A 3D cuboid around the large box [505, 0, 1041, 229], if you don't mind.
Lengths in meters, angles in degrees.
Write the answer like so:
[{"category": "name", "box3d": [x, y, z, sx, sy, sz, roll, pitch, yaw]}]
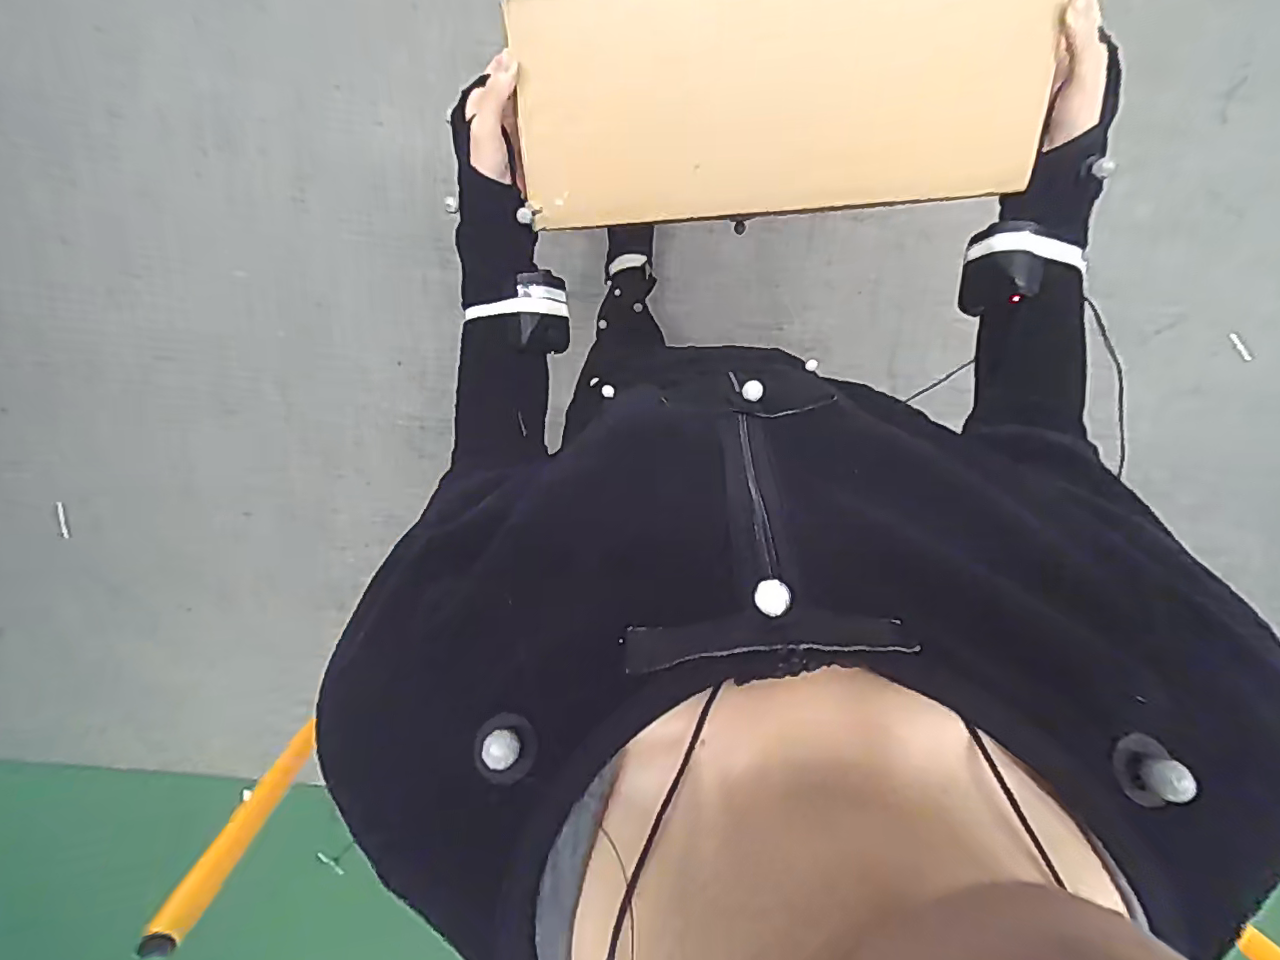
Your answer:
[{"category": "large box", "box3d": [0.097, -0.432, 0.524, 0.408, 0.320, 0.320, -4, 115, 1]}]
